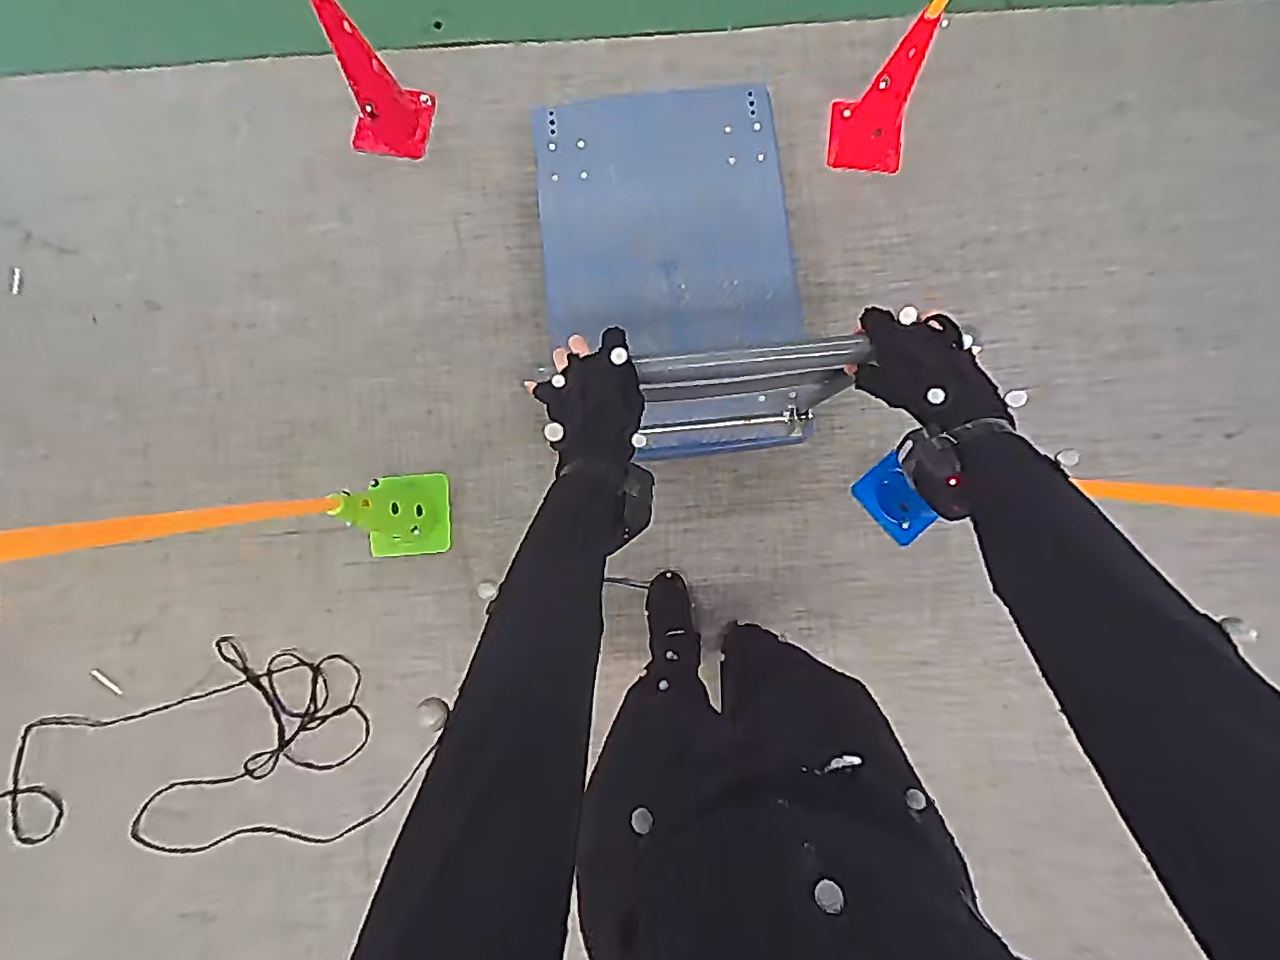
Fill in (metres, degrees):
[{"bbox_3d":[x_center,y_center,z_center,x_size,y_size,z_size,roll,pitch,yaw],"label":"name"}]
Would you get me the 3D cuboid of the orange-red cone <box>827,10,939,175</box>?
[{"bbox_3d":[0.616,-0.952,1.312,0.198,0.360,0.199,7,84,2],"label":"orange-red cone"}]
